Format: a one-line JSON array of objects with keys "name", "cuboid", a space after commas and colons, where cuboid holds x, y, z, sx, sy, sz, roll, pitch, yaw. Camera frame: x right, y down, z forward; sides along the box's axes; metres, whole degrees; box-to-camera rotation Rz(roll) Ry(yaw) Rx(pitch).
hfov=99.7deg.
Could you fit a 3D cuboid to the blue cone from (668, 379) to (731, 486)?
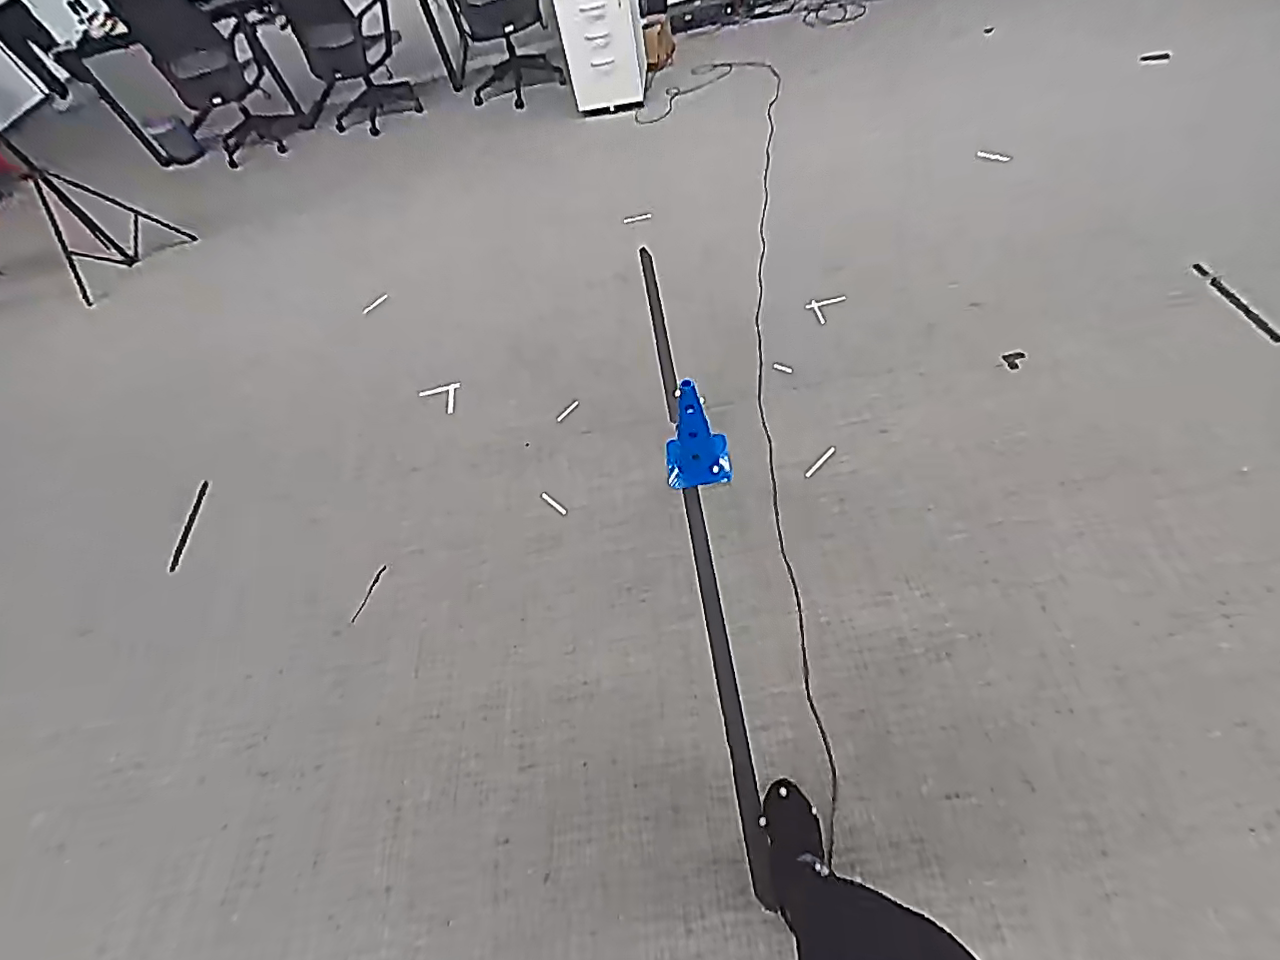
[{"name": "blue cone", "cuboid": [0.160, -0.163, 1.613, 0.193, 0.380, 0.192, -8, 54, 6]}]
